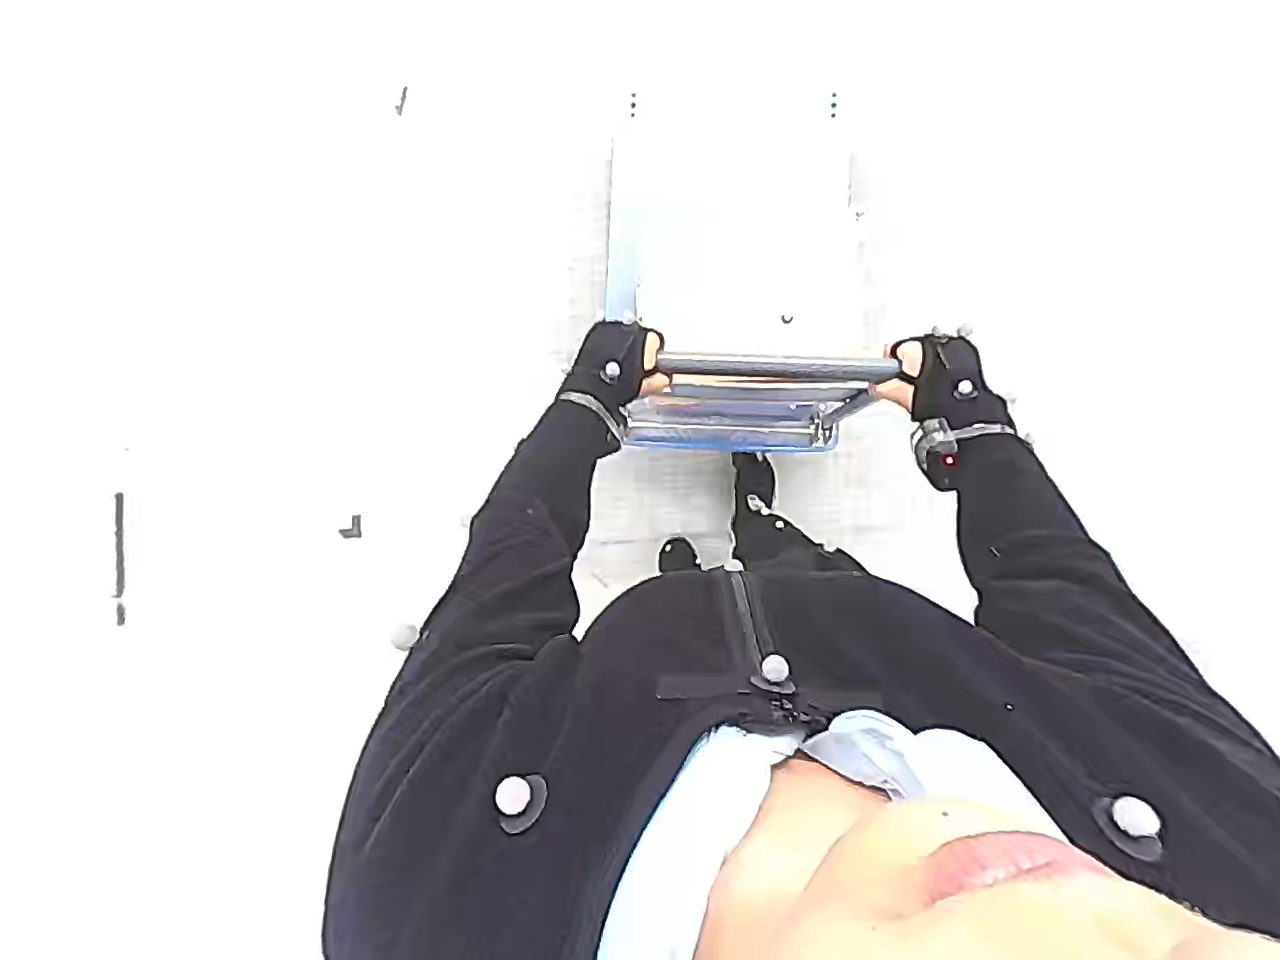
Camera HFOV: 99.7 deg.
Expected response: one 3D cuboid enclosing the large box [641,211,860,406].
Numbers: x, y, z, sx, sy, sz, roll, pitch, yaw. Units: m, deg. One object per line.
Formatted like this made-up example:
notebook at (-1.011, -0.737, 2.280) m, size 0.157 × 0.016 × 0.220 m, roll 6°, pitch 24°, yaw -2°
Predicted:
large box at (0.213, -0.342, 1.166) m, size 0.408 × 0.320 × 0.320 m, roll -2°, pitch 91°, yaw 2°
